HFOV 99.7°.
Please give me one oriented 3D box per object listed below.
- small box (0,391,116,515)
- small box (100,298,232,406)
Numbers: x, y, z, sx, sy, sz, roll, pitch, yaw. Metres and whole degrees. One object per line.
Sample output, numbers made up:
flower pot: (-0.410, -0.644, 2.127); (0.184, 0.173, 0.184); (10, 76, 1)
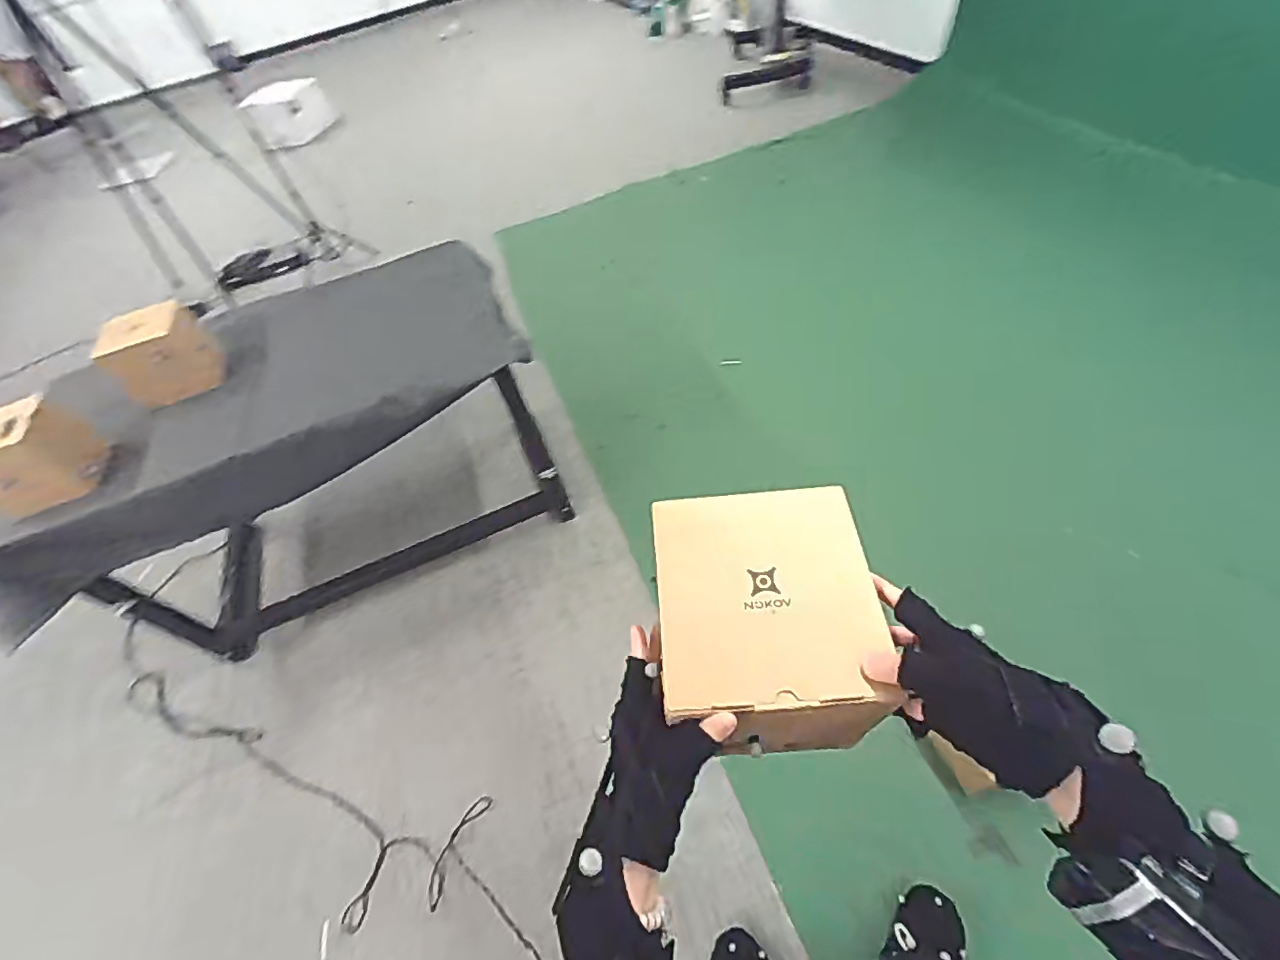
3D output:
small box: (-1.310, -0.056, 1.175); (0.179, 0.176, 0.168); (-23, 51, -7)
small box: (-1.166, -0.317, 1.350); (0.179, 0.176, 0.168); (-21, 52, -6)
